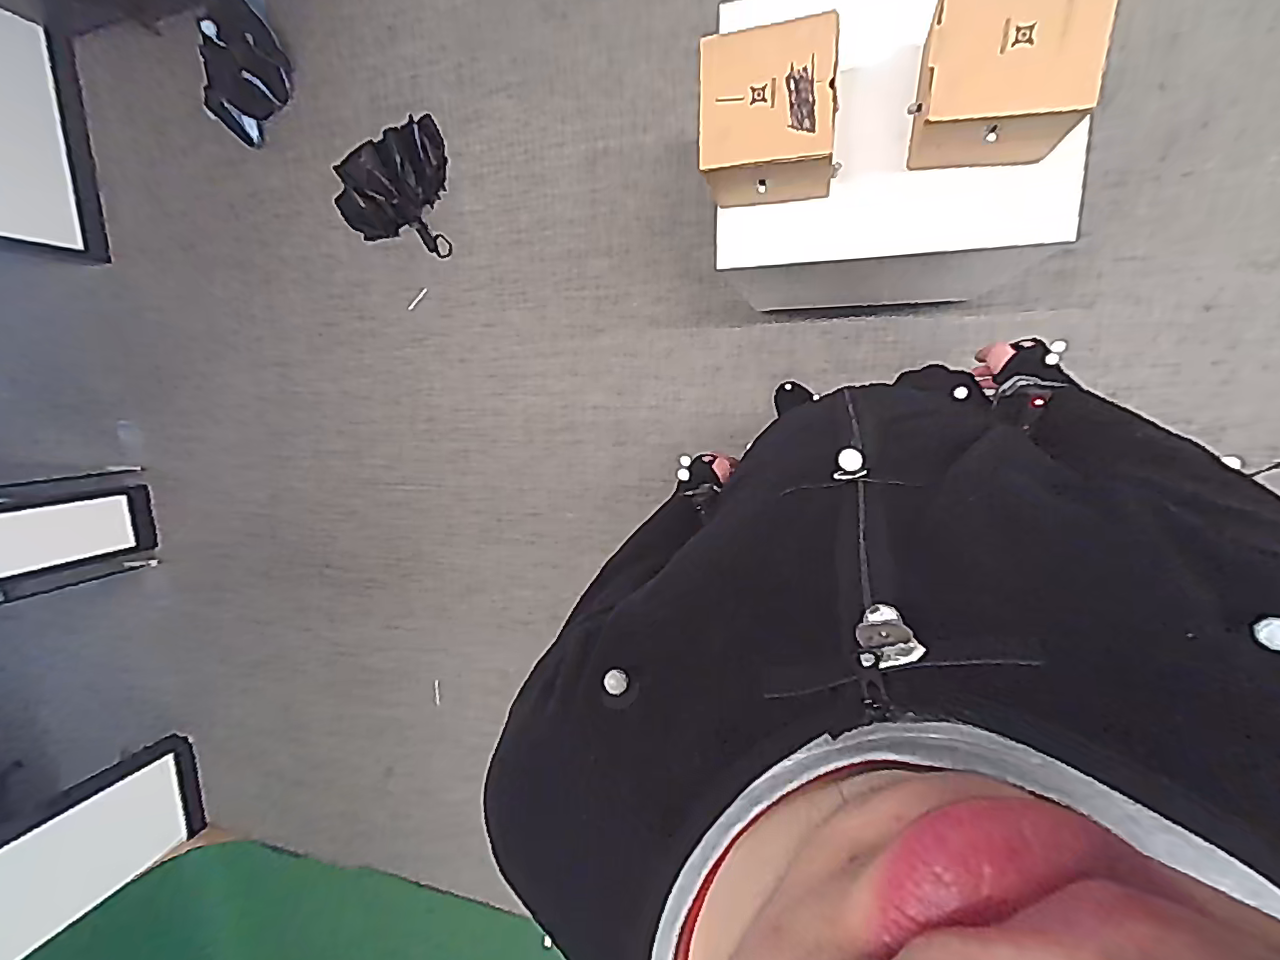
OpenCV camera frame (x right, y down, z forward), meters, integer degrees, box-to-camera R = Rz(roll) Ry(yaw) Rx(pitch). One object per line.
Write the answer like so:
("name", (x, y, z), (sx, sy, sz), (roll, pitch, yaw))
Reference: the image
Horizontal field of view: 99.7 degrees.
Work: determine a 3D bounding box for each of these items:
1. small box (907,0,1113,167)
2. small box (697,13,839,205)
("small box", (0.454, -0.517, 0.689), (0.179, 0.176, 0.168), (7, 103, 17))
("small box", (0.185, -0.513, 0.777), (0.179, 0.176, 0.168), (3, 100, 18))
